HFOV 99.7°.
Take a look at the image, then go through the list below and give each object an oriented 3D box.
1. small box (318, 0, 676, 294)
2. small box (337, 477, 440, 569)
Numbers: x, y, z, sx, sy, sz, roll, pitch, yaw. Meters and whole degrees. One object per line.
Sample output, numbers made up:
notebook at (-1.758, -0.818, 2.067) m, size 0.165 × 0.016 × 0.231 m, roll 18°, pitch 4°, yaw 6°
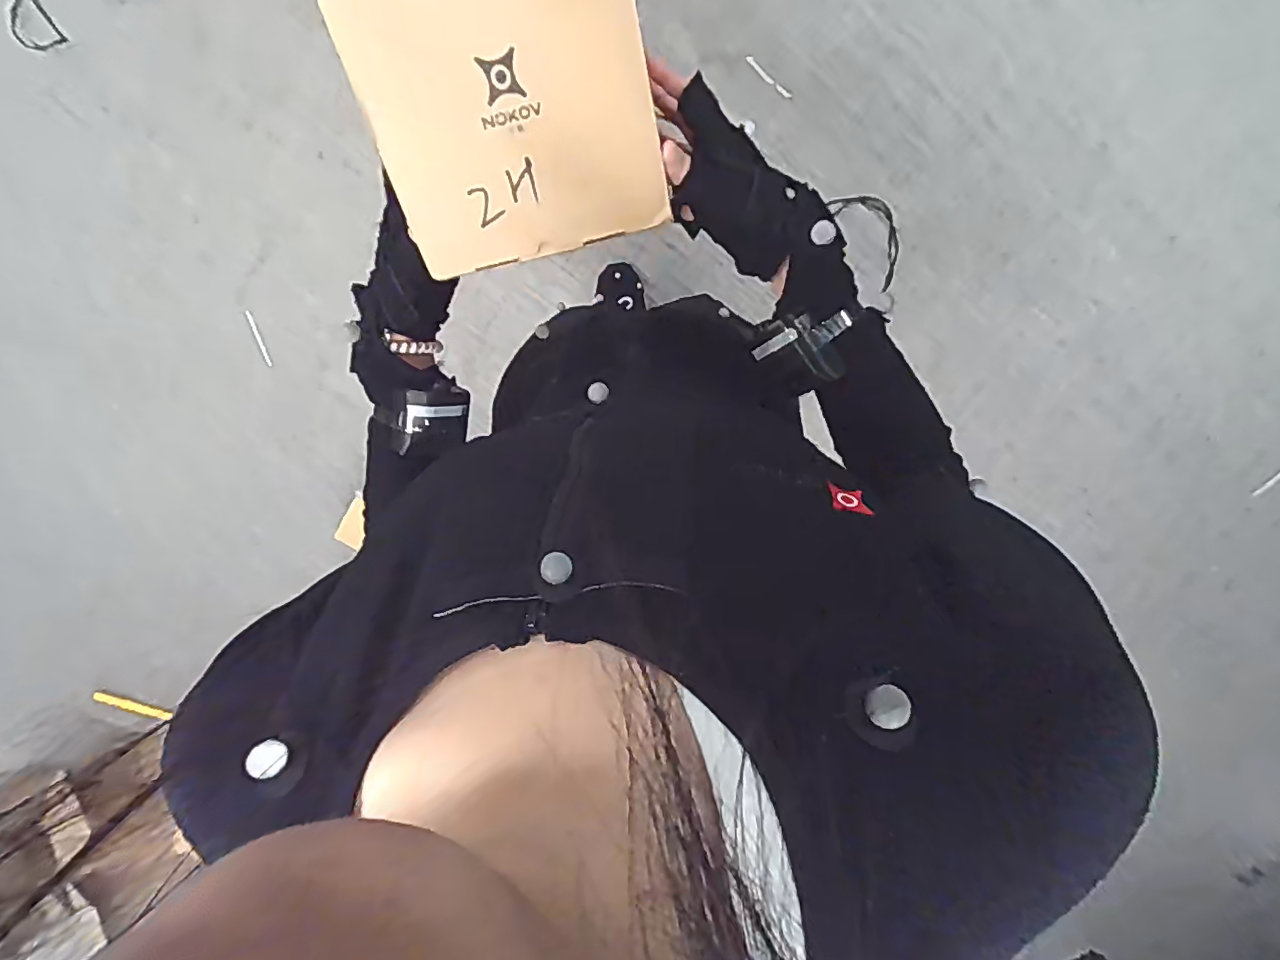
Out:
small box at (-0.075, -0.250, 0.371) m, size 0.168 × 0.176 × 0.179 m, roll -10°, pitch 123°, yaw 6°
small box at (-0.696, 0.111, 1.513) m, size 0.179 × 0.176 × 0.168 m, roll 33°, pitch 109°, yaw -12°
